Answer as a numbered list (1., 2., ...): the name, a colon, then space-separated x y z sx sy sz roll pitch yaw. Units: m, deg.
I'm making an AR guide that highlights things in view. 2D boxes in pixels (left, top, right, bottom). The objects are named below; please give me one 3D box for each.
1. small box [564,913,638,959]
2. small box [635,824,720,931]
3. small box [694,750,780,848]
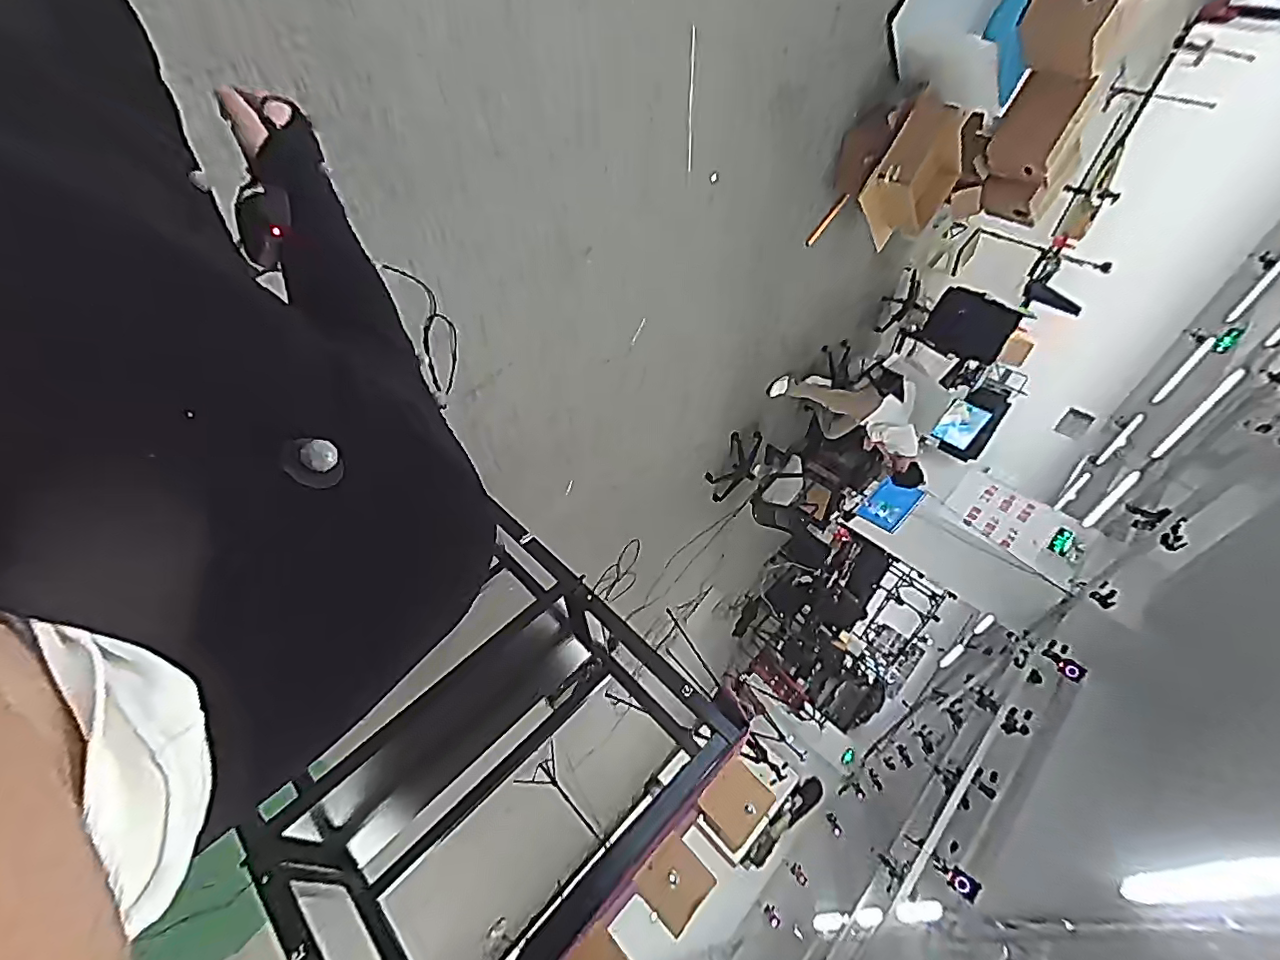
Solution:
1. small box: -0.101 1.235 1.347 0.179 0.176 0.168 -39 150 -28
2. small box: 0.098 1.078 1.473 0.168 0.176 0.179 -39 149 -26
3. small box: 0.281 0.932 1.588 0.179 0.176 0.168 -38 149 -25
